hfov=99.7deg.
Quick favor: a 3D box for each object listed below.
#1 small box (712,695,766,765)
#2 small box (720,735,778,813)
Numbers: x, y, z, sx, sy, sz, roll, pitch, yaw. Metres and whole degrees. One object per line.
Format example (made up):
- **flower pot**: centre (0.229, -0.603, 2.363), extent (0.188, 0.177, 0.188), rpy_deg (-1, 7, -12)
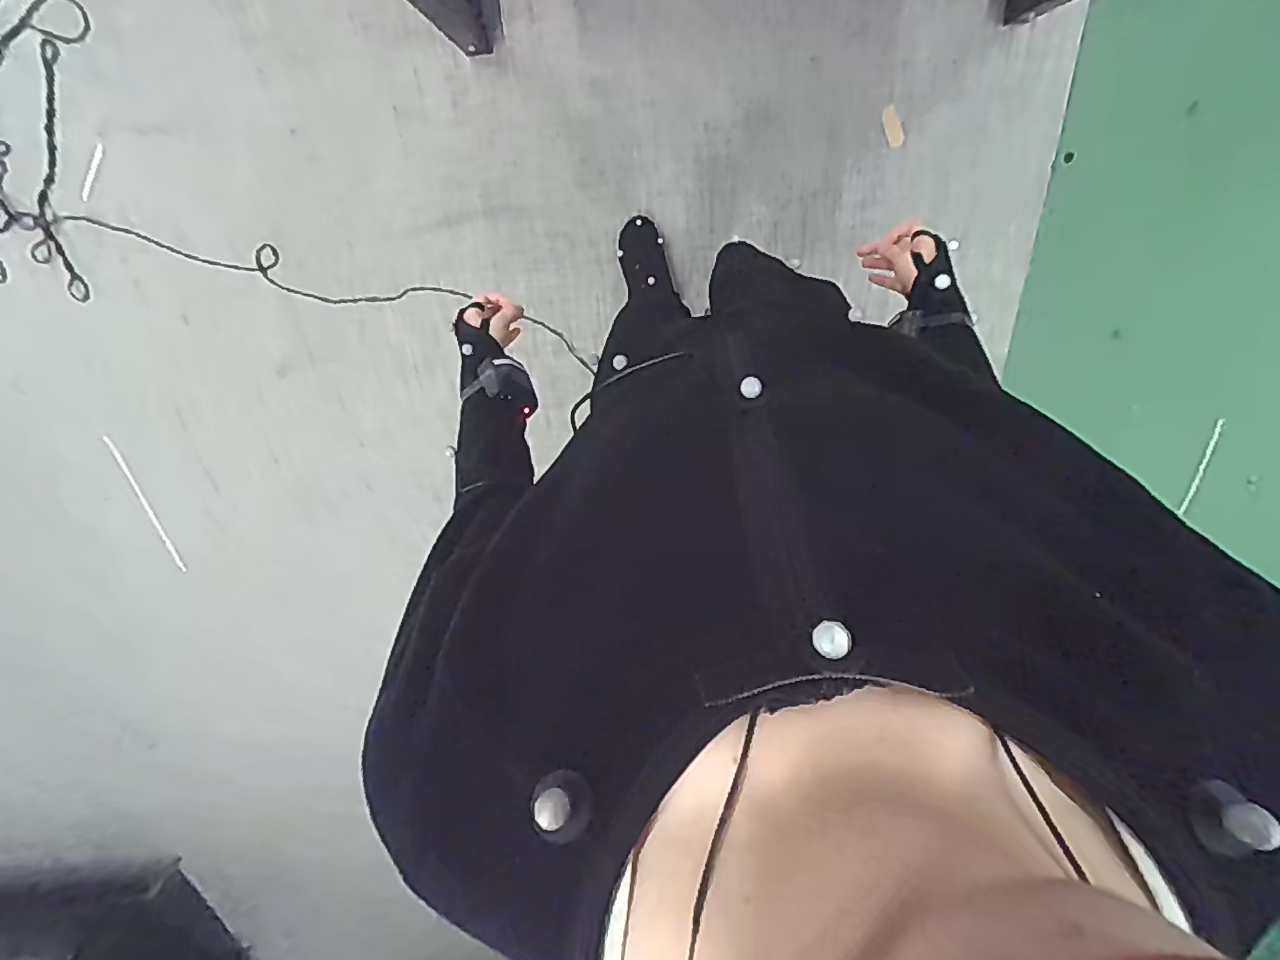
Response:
- **small box**: centre (0.357, 0.901, 1.961), extent (0.168, 0.176, 0.179), rpy_deg (-6, 118, 2)
- **small box**: centre (0.362, 0.981, 1.816), extent (0.168, 0.176, 0.179), rpy_deg (-5, 117, 2)
